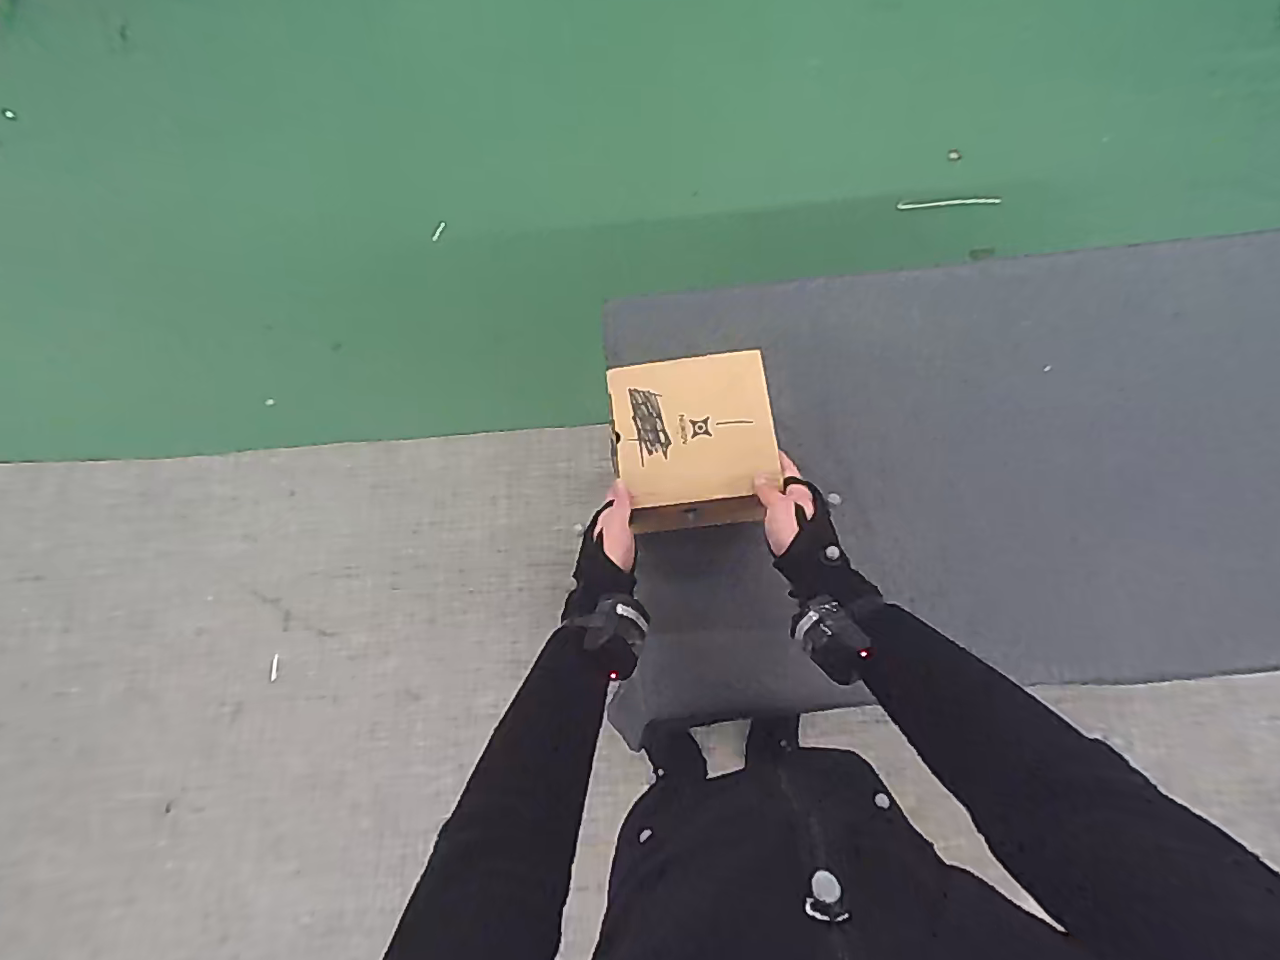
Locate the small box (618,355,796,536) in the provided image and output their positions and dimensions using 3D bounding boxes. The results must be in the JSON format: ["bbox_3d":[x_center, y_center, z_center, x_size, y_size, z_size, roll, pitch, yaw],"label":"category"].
[{"bbox_3d":[0.072,-0.031,0.653,0.179,0.176,0.168,-6,75,1],"label":"small box"}]
